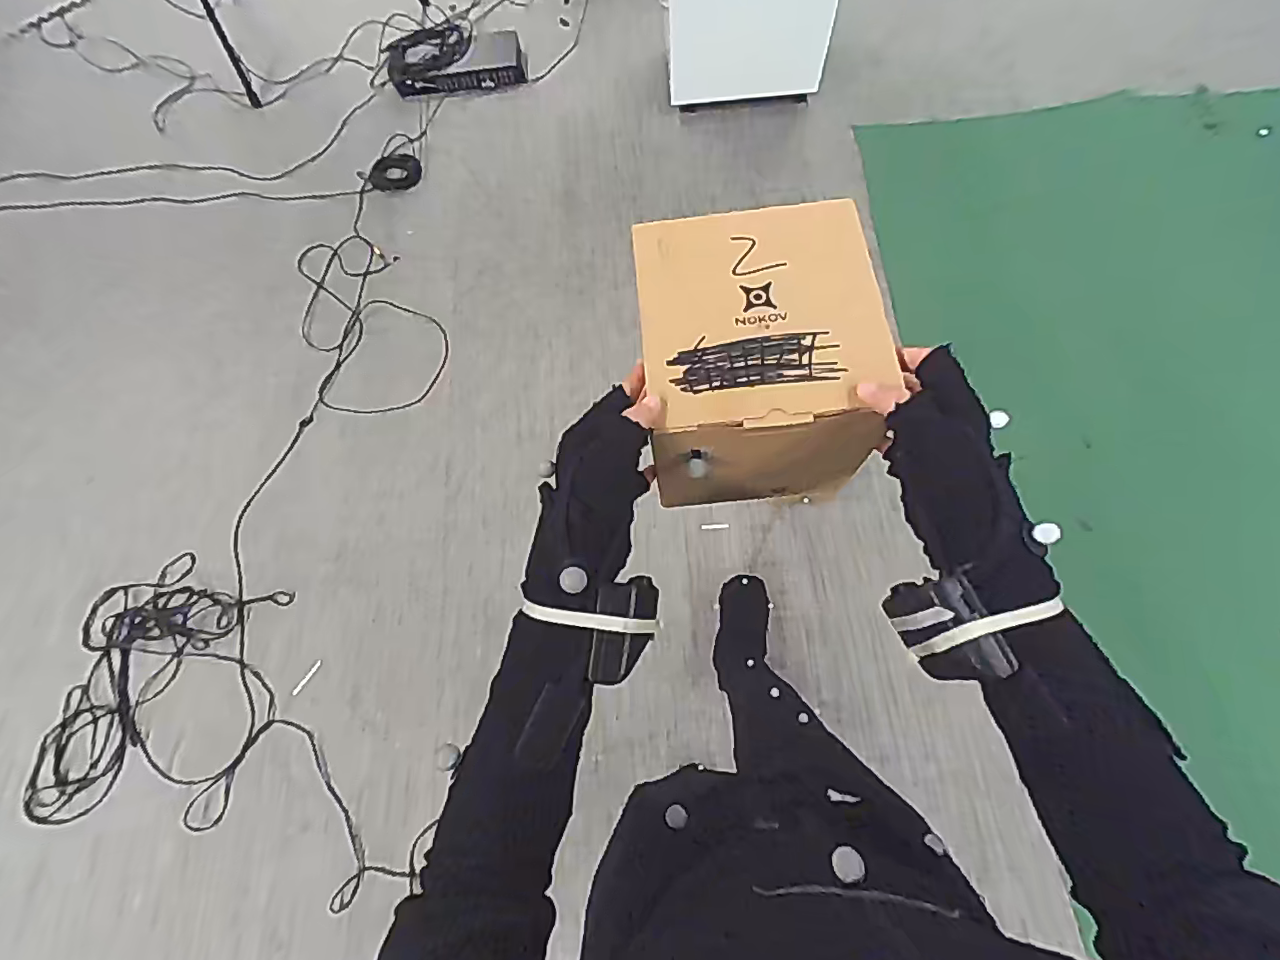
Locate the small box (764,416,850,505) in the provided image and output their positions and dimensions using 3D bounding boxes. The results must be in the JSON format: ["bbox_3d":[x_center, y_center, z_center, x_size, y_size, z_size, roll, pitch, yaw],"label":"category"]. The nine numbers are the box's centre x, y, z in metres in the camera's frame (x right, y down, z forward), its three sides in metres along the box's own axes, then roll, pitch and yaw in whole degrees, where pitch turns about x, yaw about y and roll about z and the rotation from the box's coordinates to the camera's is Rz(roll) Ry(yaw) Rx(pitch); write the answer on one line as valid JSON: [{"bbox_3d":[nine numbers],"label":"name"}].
[{"bbox_3d":[0.419,-0.047,1.390,0.168,0.176,0.179,-5,70,3],"label":"small box"}]
